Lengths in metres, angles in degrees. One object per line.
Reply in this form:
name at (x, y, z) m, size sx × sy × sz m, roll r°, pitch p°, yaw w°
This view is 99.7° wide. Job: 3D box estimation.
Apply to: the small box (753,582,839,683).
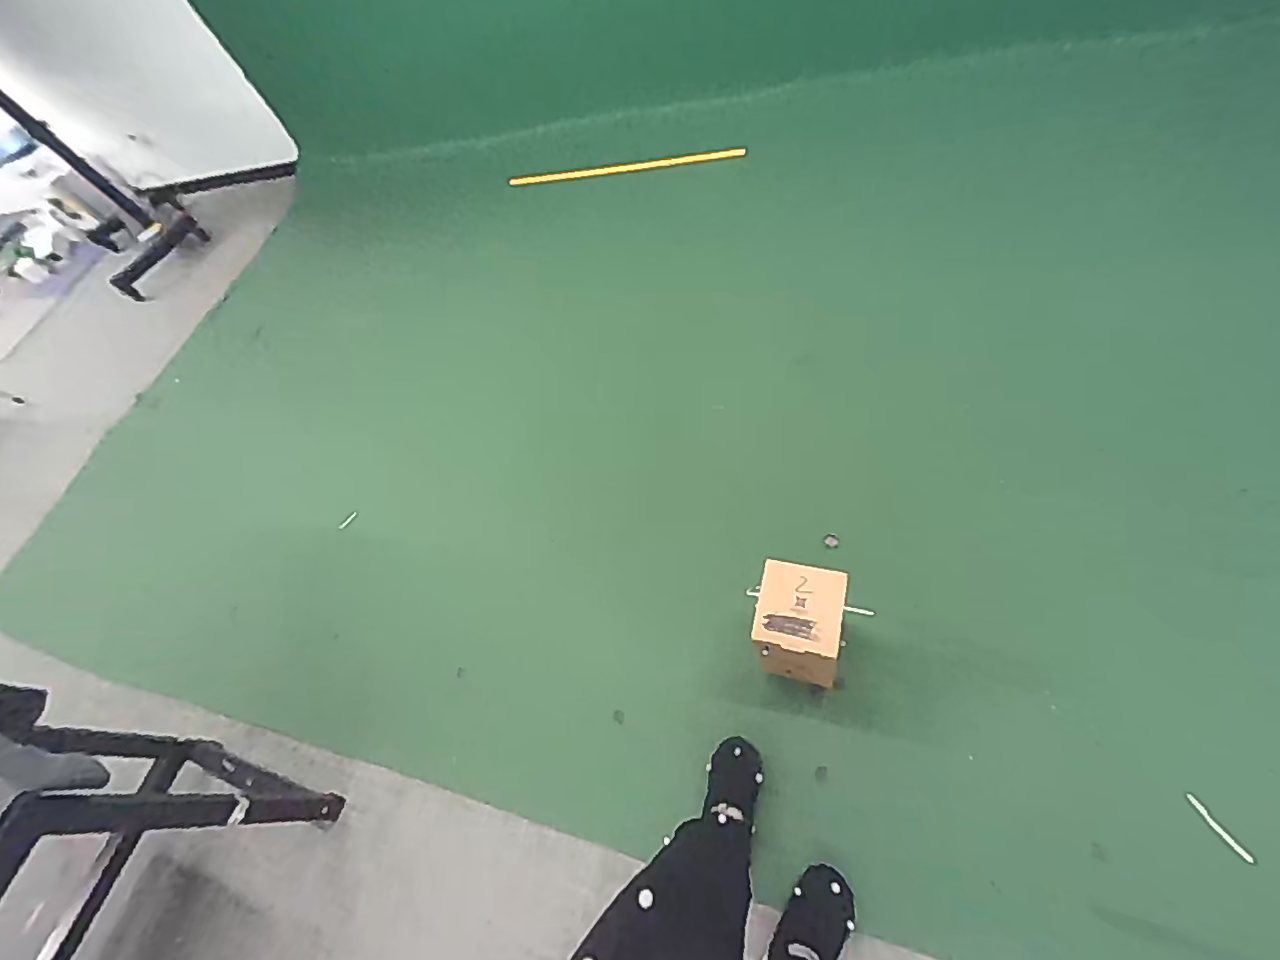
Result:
small box at (0.373, 0.367, 1.291) m, size 0.168 × 0.176 × 0.179 m, roll 8°, pitch 64°, yaw 21°
